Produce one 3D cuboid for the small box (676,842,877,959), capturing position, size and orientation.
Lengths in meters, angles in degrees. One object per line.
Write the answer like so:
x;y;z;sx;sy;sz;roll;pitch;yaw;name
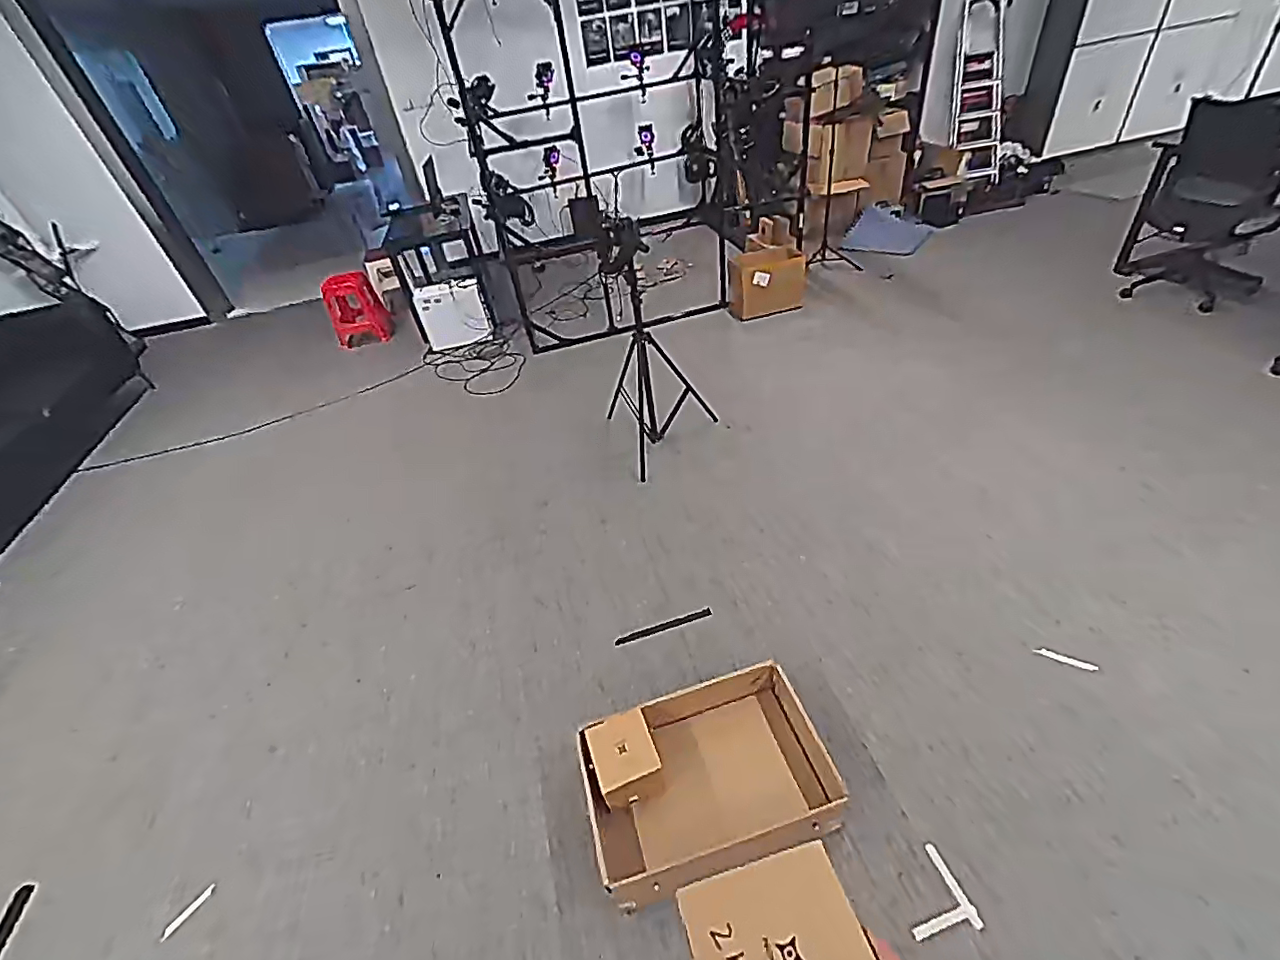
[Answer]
0.148;0.533;0.579;0.179;0.176;0.168;-15;37;-8;small box
